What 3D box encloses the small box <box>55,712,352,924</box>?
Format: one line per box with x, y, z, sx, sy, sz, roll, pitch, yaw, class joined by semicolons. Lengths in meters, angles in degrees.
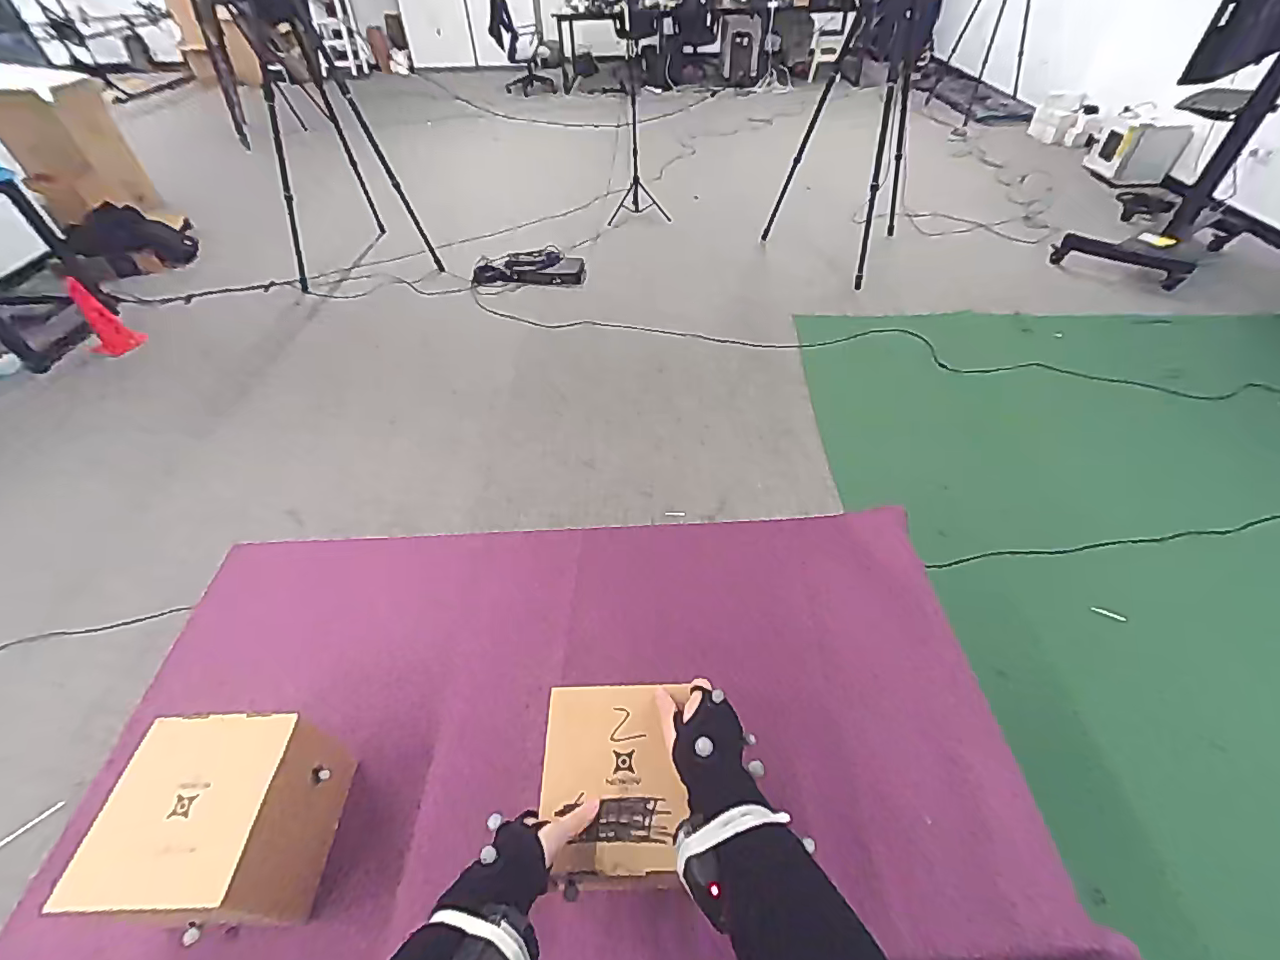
-0.459;0.382;0.612;0.168;0.176;0.179;-2;47;1;small box
